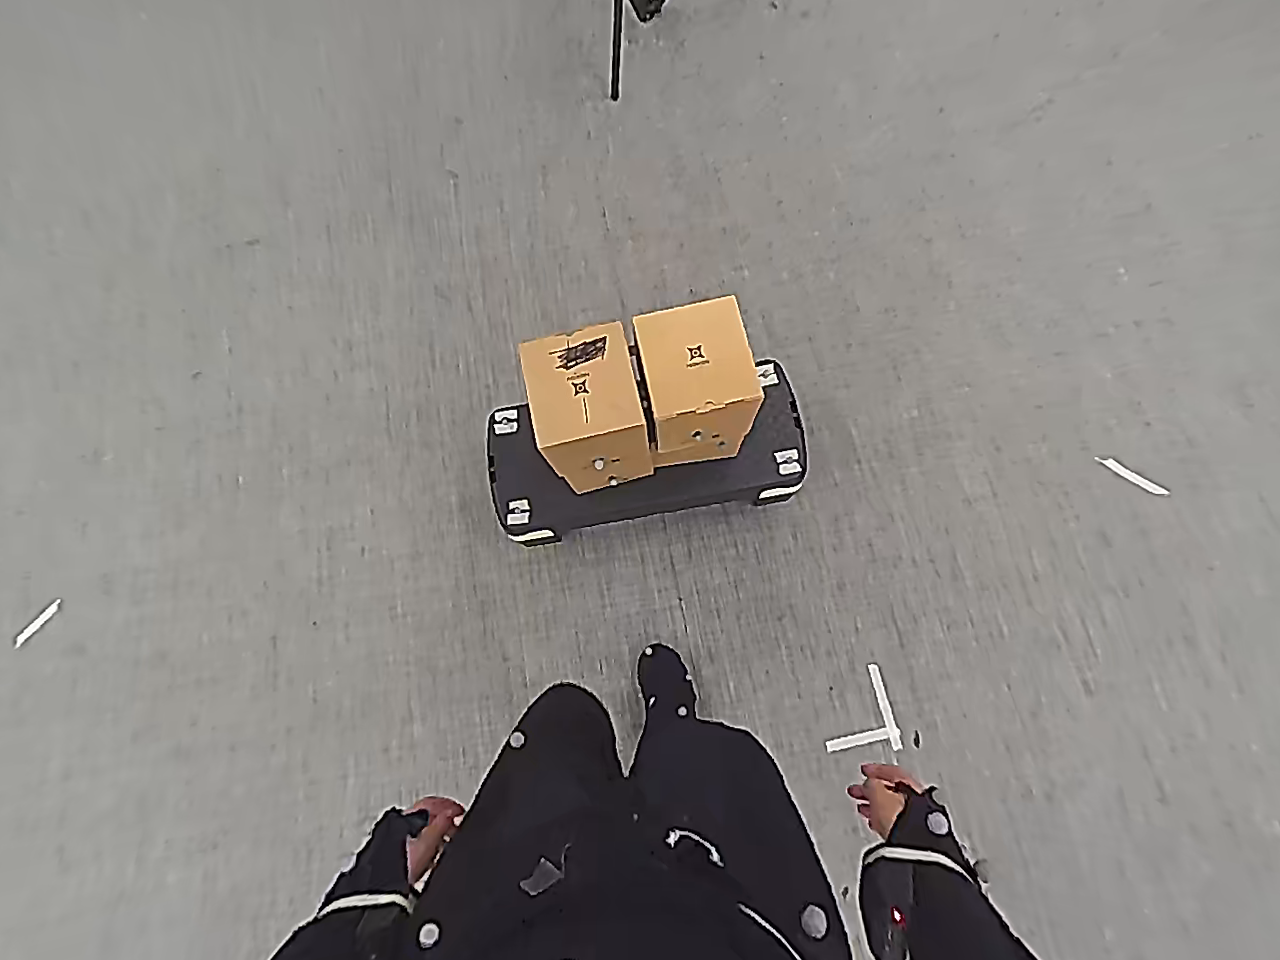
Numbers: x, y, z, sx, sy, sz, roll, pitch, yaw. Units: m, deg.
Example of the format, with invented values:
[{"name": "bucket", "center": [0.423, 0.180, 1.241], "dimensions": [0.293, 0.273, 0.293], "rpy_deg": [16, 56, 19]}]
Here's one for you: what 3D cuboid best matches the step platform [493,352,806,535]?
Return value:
[{"name": "step platform", "center": [0.019, -0.078, 1.228], "dimensions": [0.684, 0.204, 0.286], "rpy_deg": [-11, 75, 1]}]
